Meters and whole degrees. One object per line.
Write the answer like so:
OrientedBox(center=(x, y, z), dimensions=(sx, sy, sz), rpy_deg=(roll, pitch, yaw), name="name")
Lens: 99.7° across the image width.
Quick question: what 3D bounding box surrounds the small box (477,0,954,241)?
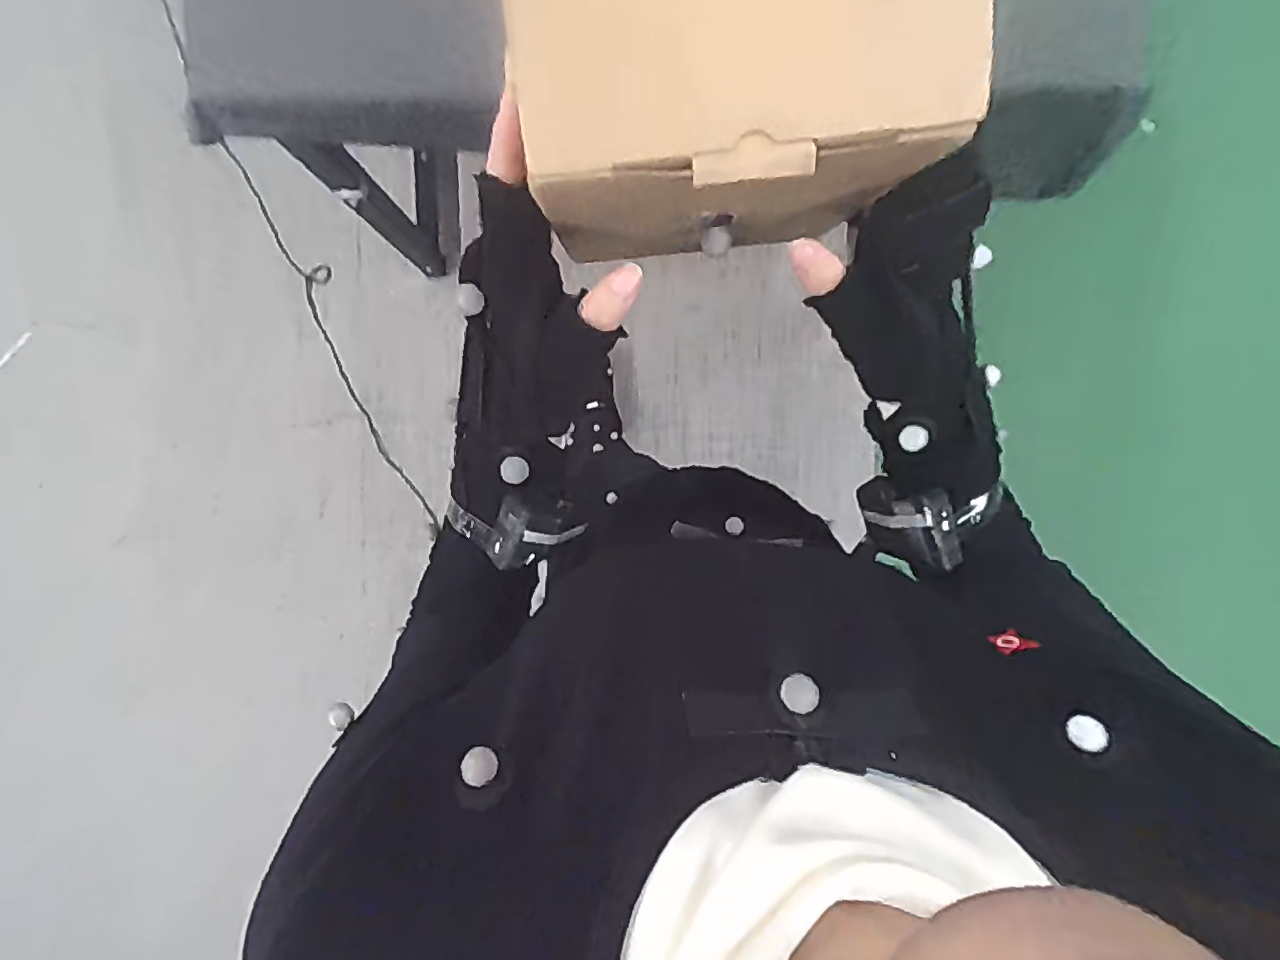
OrientedBox(center=(0.022, -0.219, 0.254), dimensions=(0.168, 0.176, 0.179), rpy_deg=(-5, 103, 0), name="small box")
